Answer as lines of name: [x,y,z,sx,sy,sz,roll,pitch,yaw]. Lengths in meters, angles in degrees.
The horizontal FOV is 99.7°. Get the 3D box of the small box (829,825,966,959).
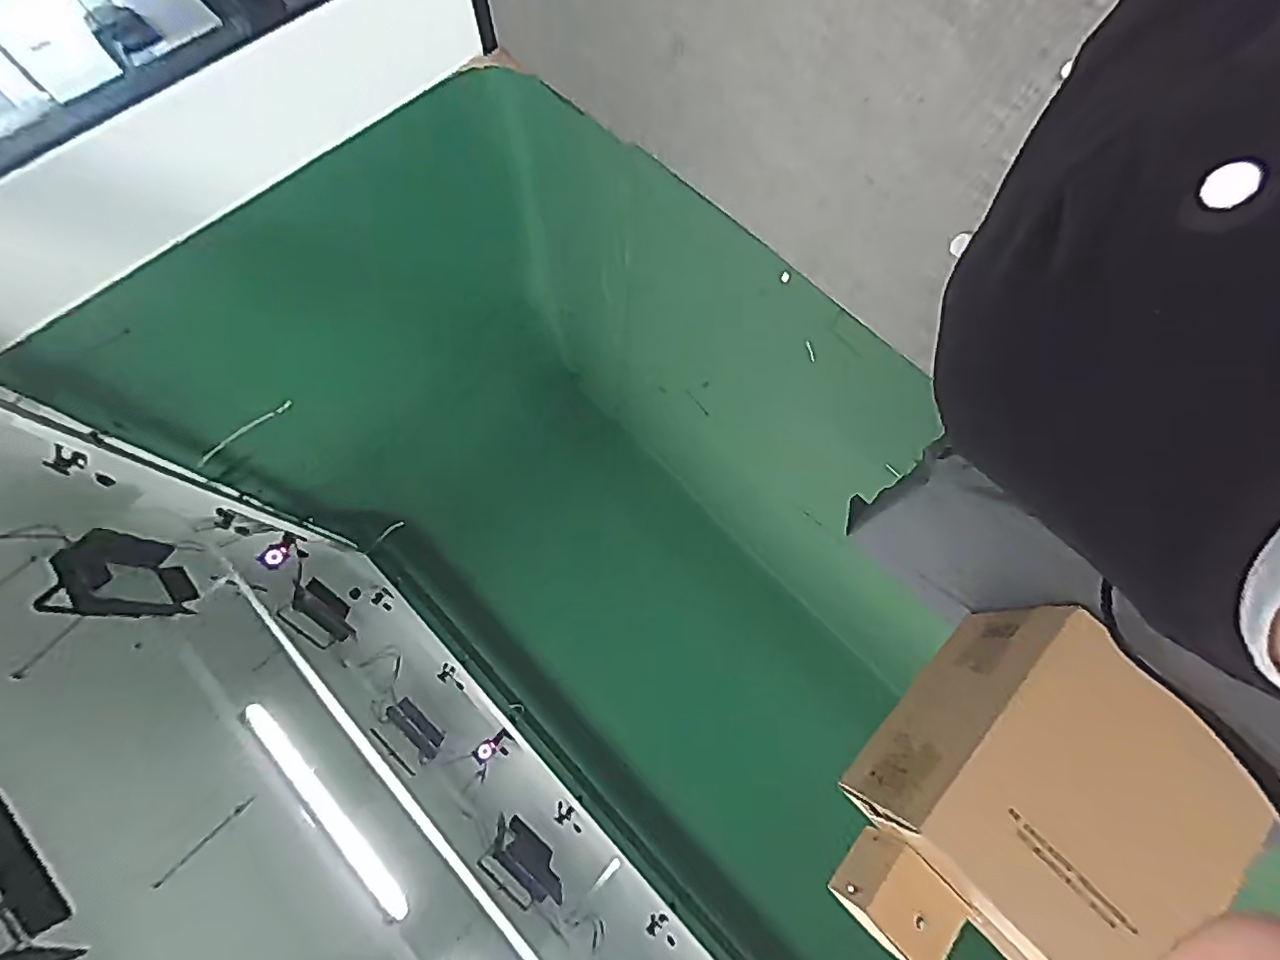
small box: [0.559,0.903,1.176,0.179,0.176,0.168,44,159,9]
